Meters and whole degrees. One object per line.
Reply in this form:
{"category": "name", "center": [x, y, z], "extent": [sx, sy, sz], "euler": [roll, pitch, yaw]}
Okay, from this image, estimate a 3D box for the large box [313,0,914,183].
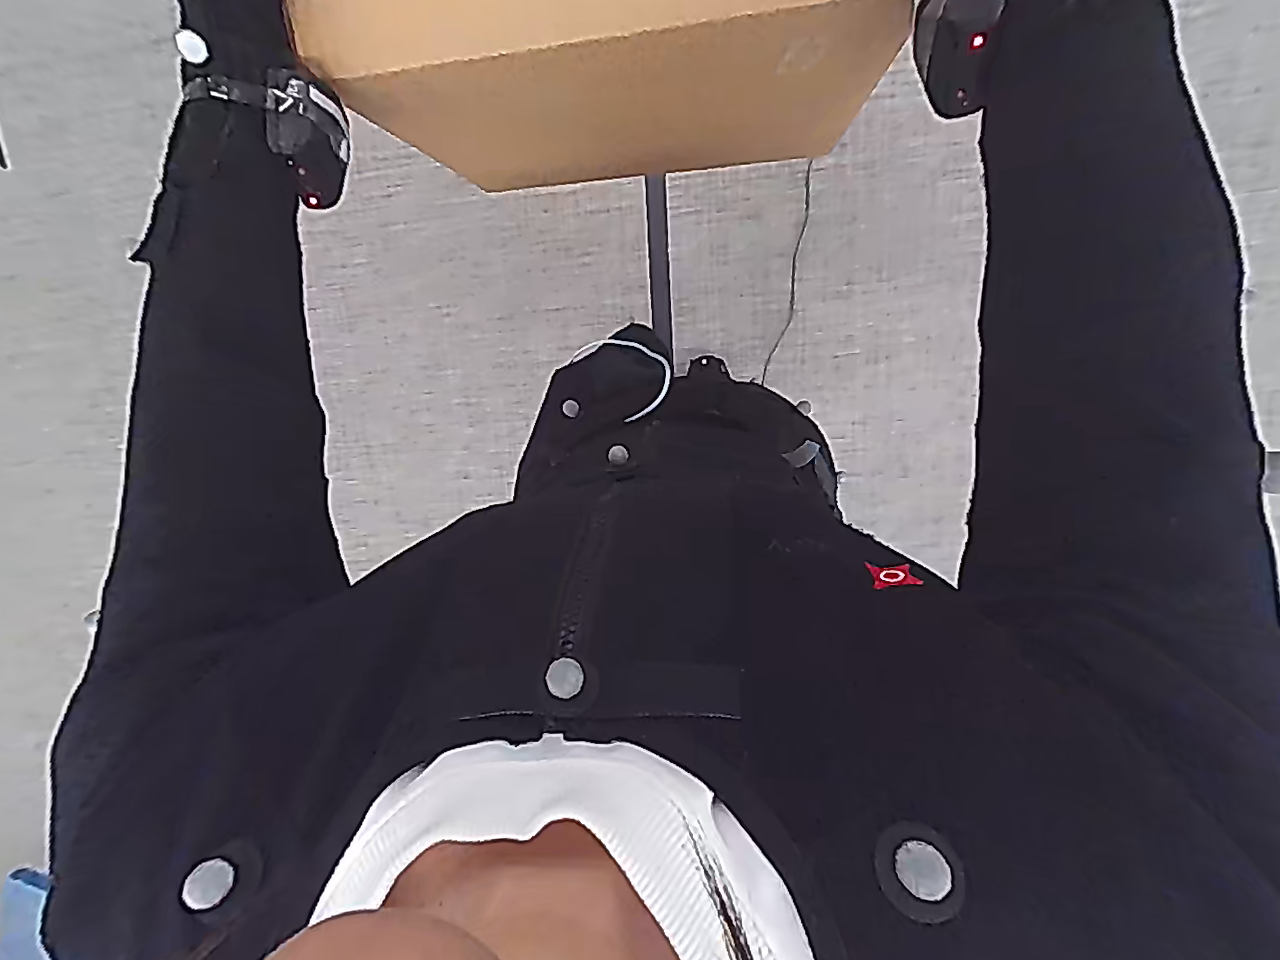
{"category": "large box", "center": [-0.014, -0.474, 0.445], "extent": [0.408, 0.320, 0.320], "euler": [-3, 106, 7]}
